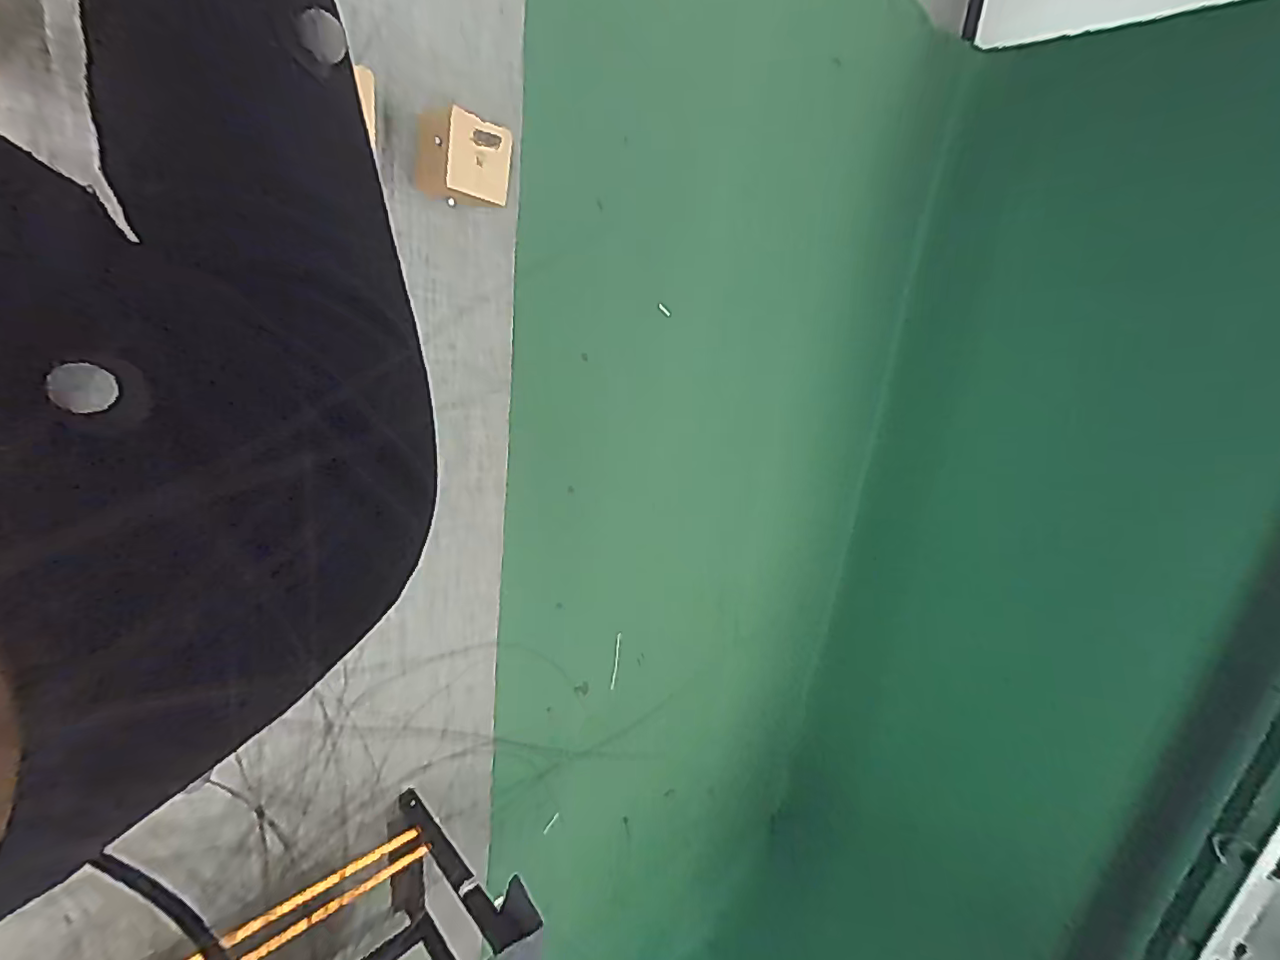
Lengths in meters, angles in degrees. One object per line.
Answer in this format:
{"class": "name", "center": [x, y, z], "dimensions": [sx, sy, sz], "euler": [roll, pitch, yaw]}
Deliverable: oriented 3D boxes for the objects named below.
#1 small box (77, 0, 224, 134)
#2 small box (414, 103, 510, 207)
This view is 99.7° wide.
{"class": "small box", "center": [-0.846, -0.731, 0.937], "dimensions": [0.168, 0.176, 0.179], "euler": [-9, 113, -45]}
{"class": "small box", "center": [-0.449, -0.803, 1.356], "dimensions": [0.168, 0.176, 0.179], "euler": [-6, 112, -47]}
